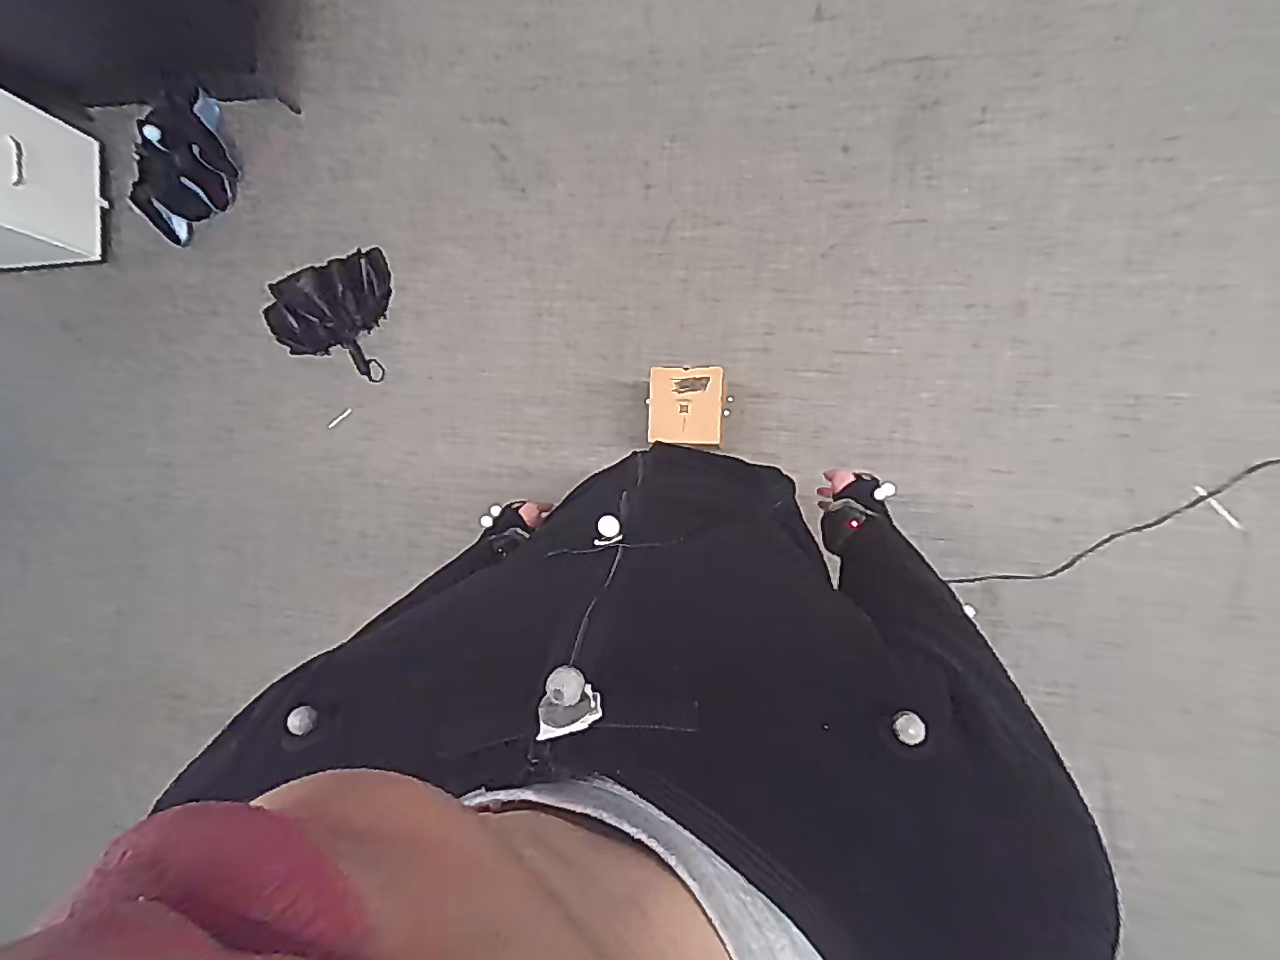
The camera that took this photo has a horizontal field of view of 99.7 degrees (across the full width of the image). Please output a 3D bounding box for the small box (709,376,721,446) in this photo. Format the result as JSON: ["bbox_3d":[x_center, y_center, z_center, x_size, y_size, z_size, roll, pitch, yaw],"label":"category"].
[{"bbox_3d":[0.132,-0.186,1.471,0.168,0.176,0.179,3,93,10],"label":"small box"}]

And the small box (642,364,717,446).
[{"bbox_3d":[0.100,-0.177,1.309,0.168,0.176,0.179,2,92,10],"label":"small box"}]
